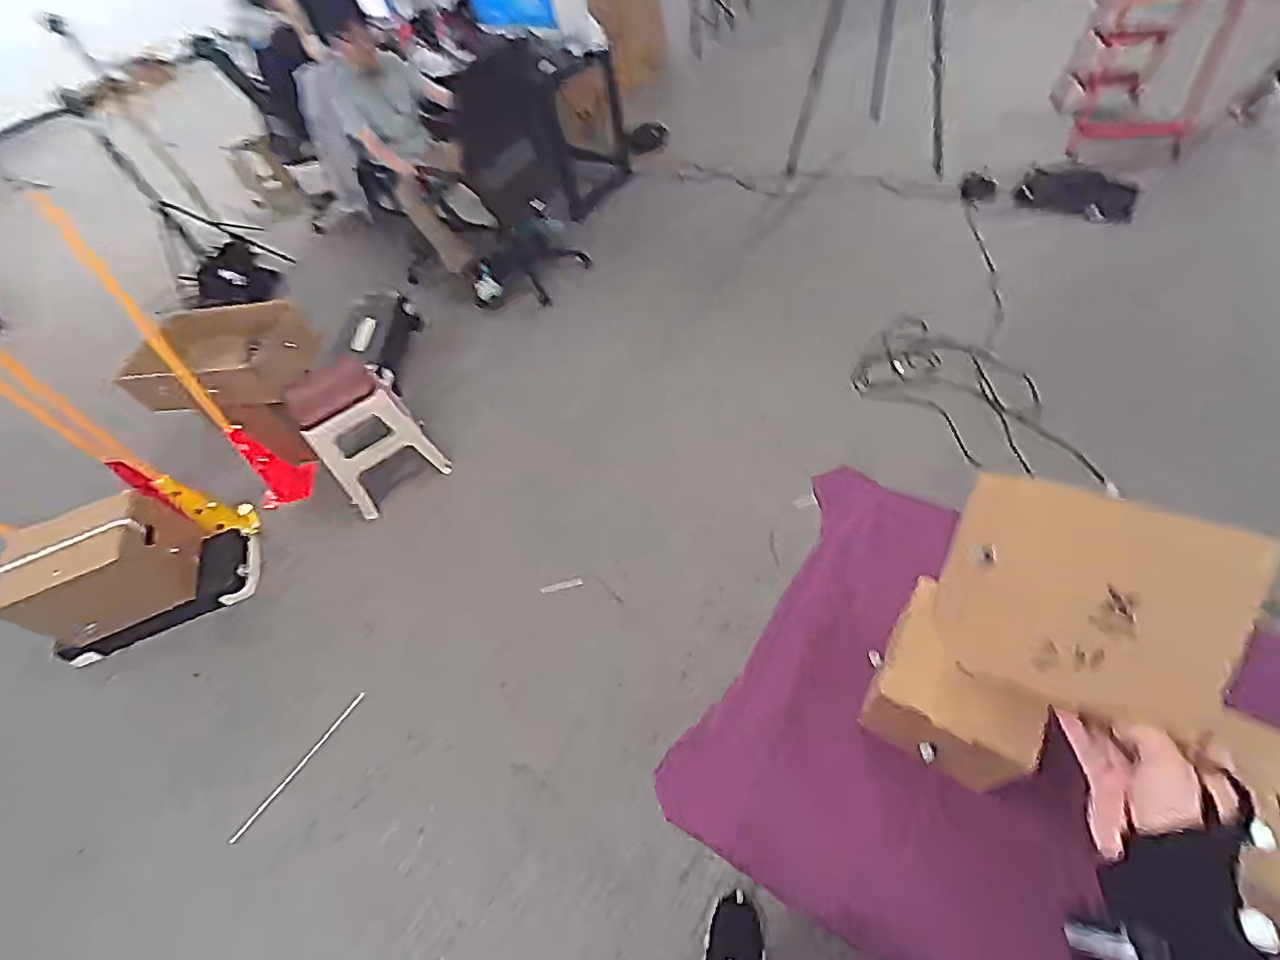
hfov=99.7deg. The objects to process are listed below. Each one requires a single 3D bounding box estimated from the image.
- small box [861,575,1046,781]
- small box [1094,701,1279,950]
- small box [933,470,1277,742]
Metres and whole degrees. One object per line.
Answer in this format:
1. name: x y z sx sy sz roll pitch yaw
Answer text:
1. small box: 0.405 0.264 0.710 0.168 0.176 0.179 23 62 26
2. small box: 0.642 0.371 0.579 0.179 0.176 0.168 23 61 27
3. small box: 0.397 0.095 0.506 0.168 0.176 0.179 18 98 17
